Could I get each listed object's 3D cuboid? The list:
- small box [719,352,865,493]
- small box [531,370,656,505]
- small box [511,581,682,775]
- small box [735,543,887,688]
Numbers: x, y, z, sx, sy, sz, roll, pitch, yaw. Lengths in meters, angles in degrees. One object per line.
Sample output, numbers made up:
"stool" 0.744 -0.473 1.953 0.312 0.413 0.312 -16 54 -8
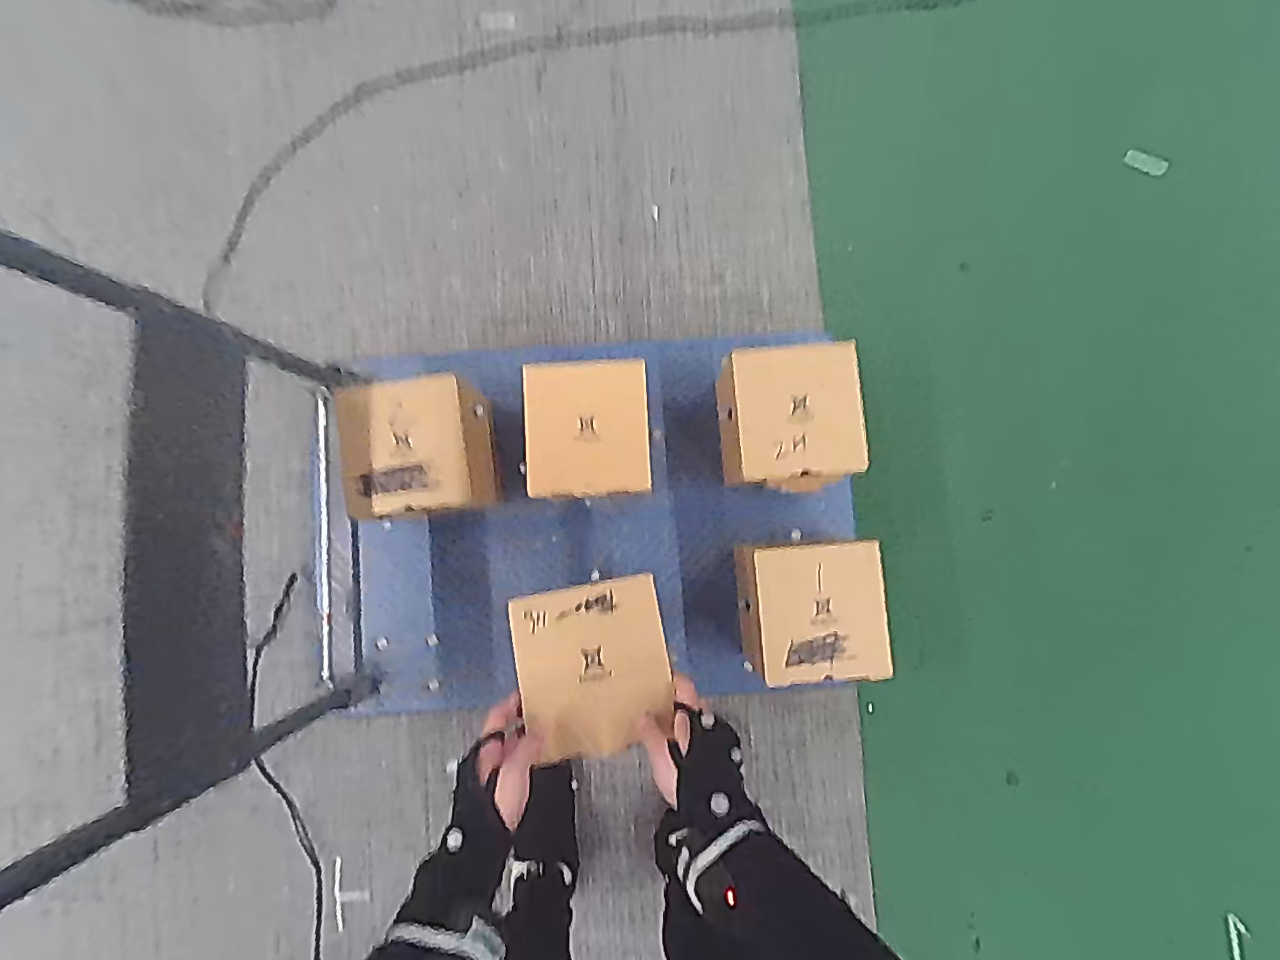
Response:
"small box" 0.213 -0.076 0.802 0.168 0.176 0.179 -4 86 1
"small box" -0.065 -0.054 0.805 0.168 0.176 0.179 -3 87 0
"small box" -0.048 0.224 0.658 0.168 0.176 0.179 -10 80 -3
"small box" 0.240 0.189 0.798 0.168 0.176 0.179 -4 85 0
